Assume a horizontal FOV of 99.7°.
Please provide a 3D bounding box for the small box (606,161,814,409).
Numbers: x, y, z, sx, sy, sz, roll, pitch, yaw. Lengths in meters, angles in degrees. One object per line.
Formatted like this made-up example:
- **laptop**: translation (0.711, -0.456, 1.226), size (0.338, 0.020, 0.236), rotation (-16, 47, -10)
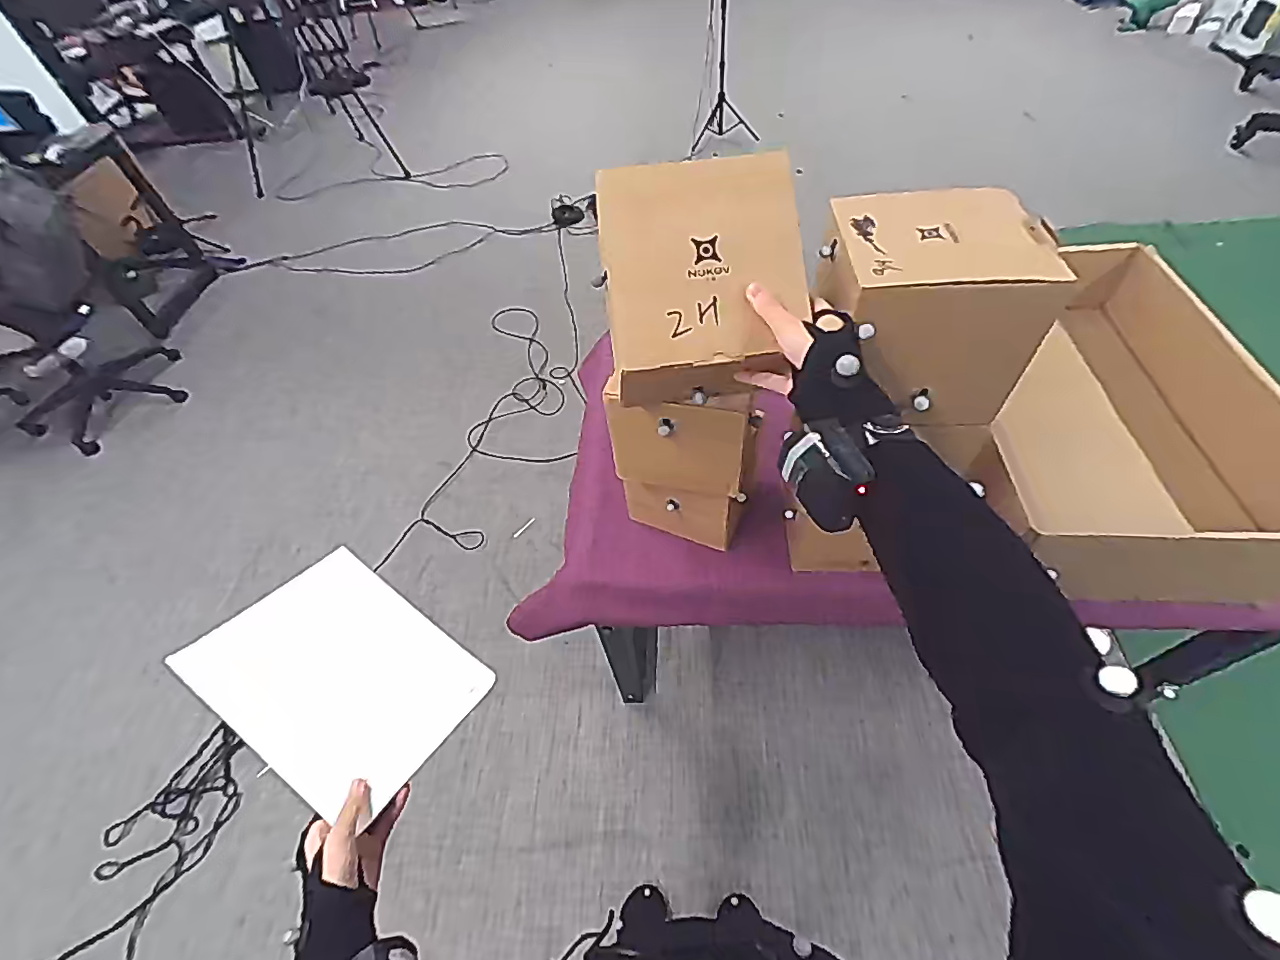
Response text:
- **small box**: translation (0.055, -0.178, 0.539), size (0.168, 0.176, 0.179), rotation (-7, 87, -2)

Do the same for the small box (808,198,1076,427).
- **small box**: translation (0.282, -0.168, 0.560), size (0.179, 0.176, 0.168), rotation (1, 51, 5)

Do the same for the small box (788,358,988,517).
- **small box**: translation (0.295, -0.065, 0.688), size (0.179, 0.176, 0.168), rotation (0, 51, 7)
